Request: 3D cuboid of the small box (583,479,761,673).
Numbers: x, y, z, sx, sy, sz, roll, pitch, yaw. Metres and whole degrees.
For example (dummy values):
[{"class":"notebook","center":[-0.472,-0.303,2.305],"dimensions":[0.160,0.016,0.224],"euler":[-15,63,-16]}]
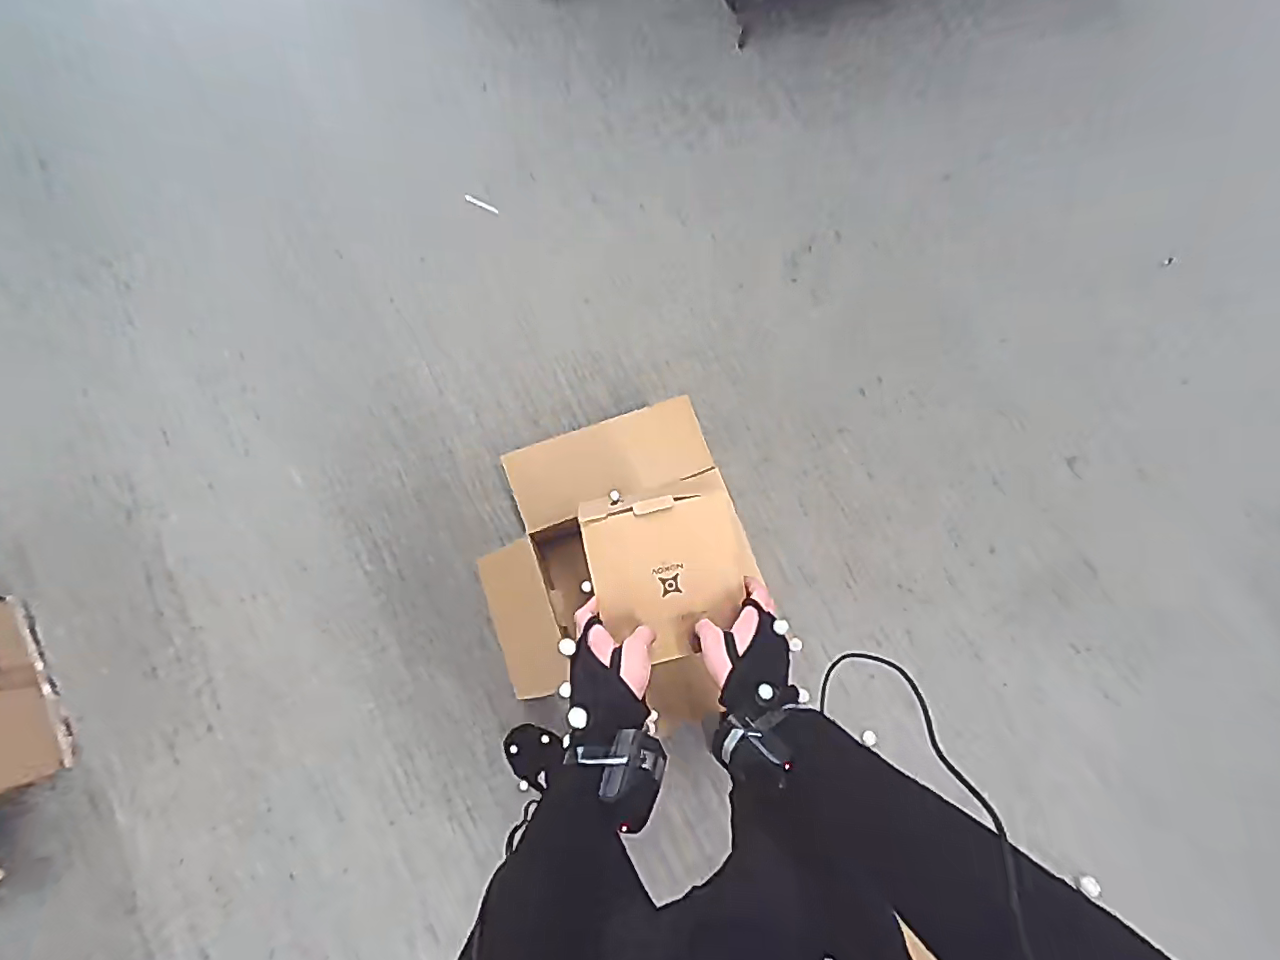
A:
[{"class":"small box","center":[0.027,0.099,0.651],"dimensions":[0.168,0.176,0.179],"euler":[-13,96,-5]}]
